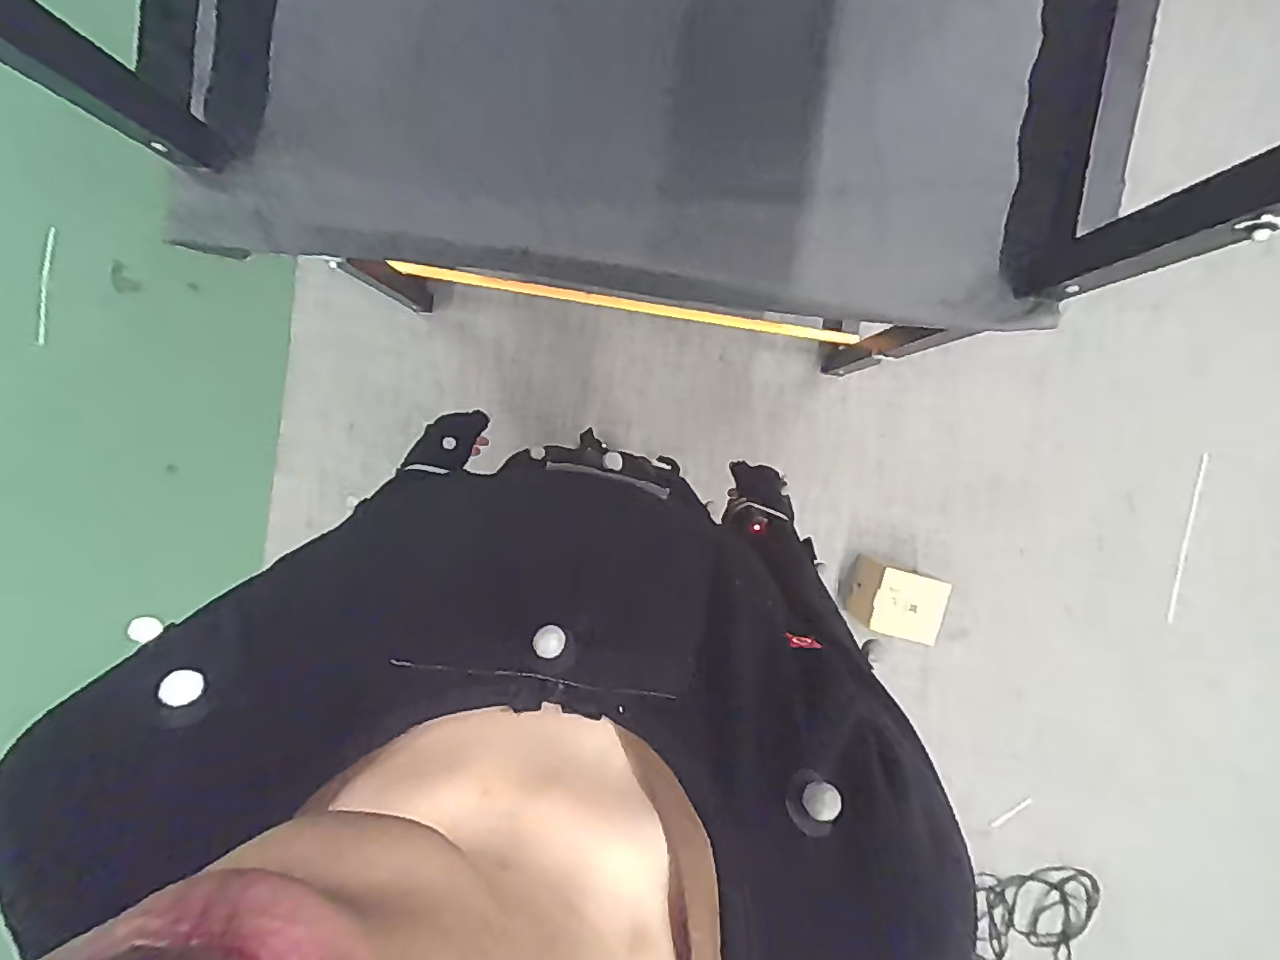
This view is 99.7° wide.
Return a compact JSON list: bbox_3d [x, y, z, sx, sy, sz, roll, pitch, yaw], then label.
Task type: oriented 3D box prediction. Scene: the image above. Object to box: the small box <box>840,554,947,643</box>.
[{"bbox_3d":[0.663,0.305,1.433,0.179,0.176,0.168,15,94,-1],"label":"small box"}]
